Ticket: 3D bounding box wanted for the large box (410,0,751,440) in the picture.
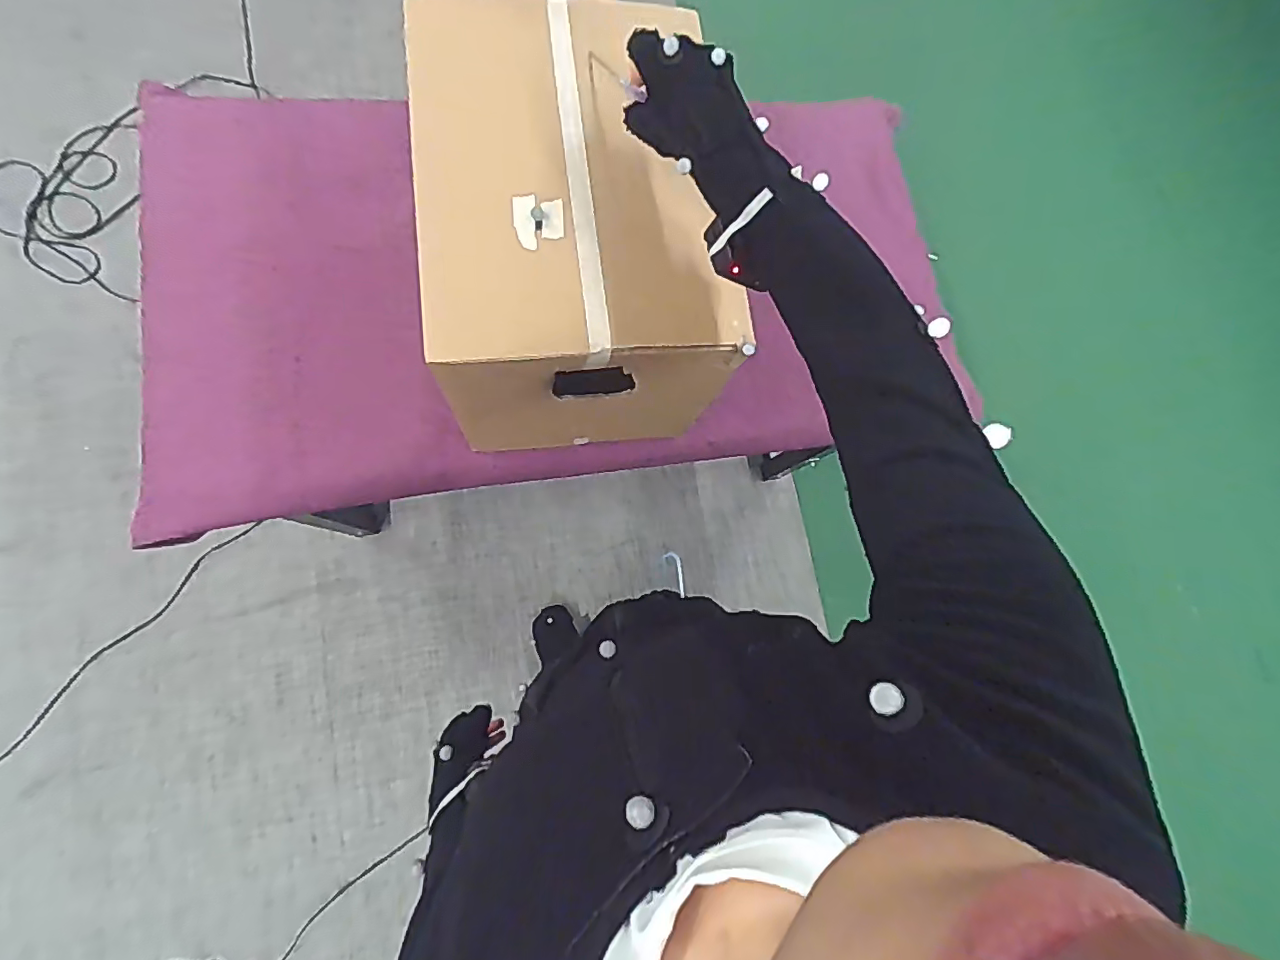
[{"bbox_3d":[-0.088,-0.290,0.696,0.320,0.320,0.408,-5,80,-11],"label":"large box"}]
